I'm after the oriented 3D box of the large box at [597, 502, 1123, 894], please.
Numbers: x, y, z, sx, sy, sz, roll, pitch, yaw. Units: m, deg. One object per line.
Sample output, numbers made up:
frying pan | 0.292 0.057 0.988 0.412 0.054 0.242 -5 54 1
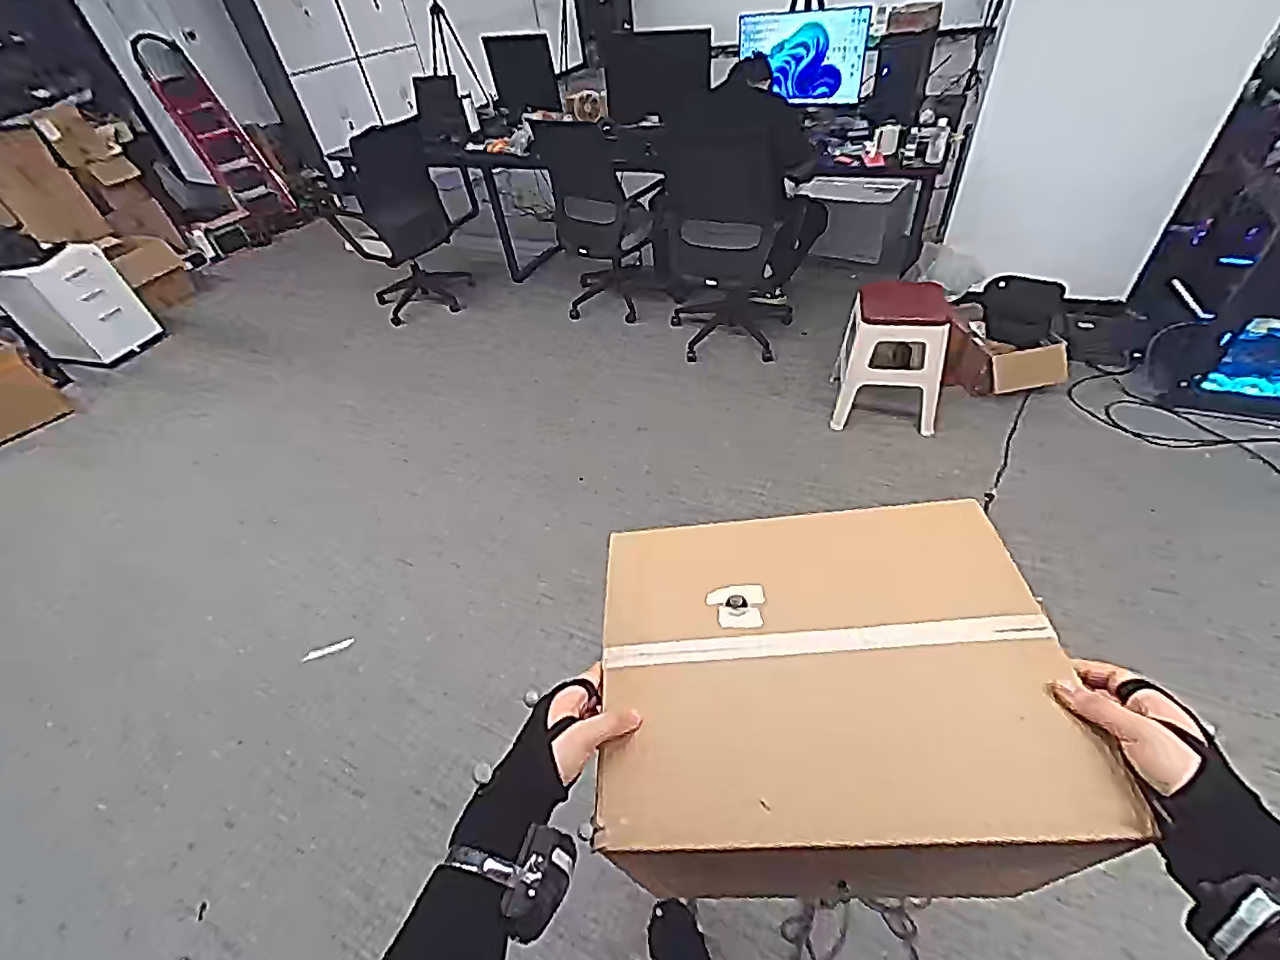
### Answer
large box | 0.187 0.262 0.623 0.408 0.320 0.320 -8 44 8
